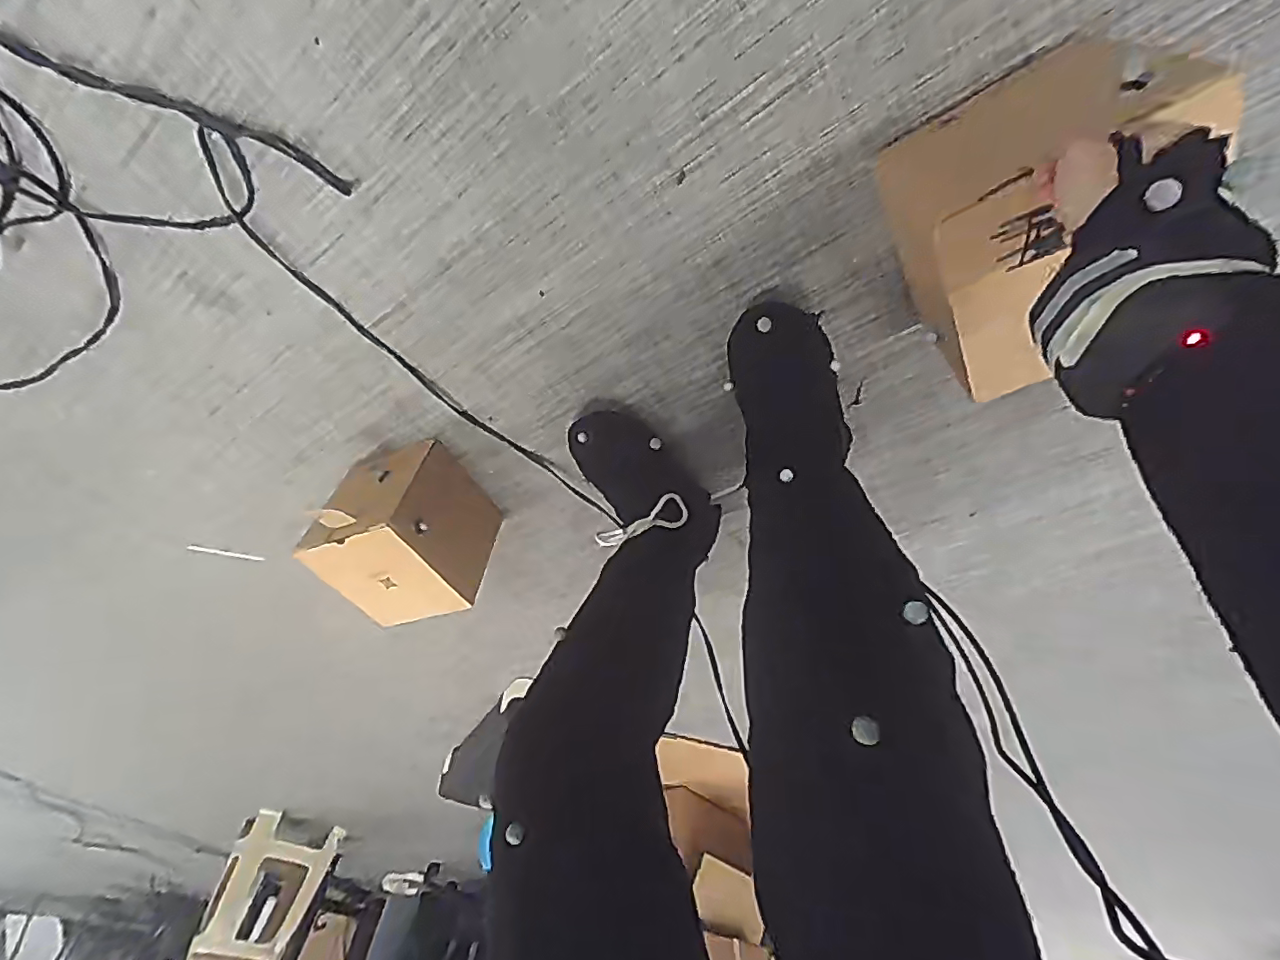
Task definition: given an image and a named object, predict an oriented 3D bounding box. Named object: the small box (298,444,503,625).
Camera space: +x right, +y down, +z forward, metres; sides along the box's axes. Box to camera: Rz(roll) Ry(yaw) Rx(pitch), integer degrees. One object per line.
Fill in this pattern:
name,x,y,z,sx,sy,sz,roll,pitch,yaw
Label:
small box,-0.322,0.079,0.771,0.168,0.176,0.179,-15,128,19
